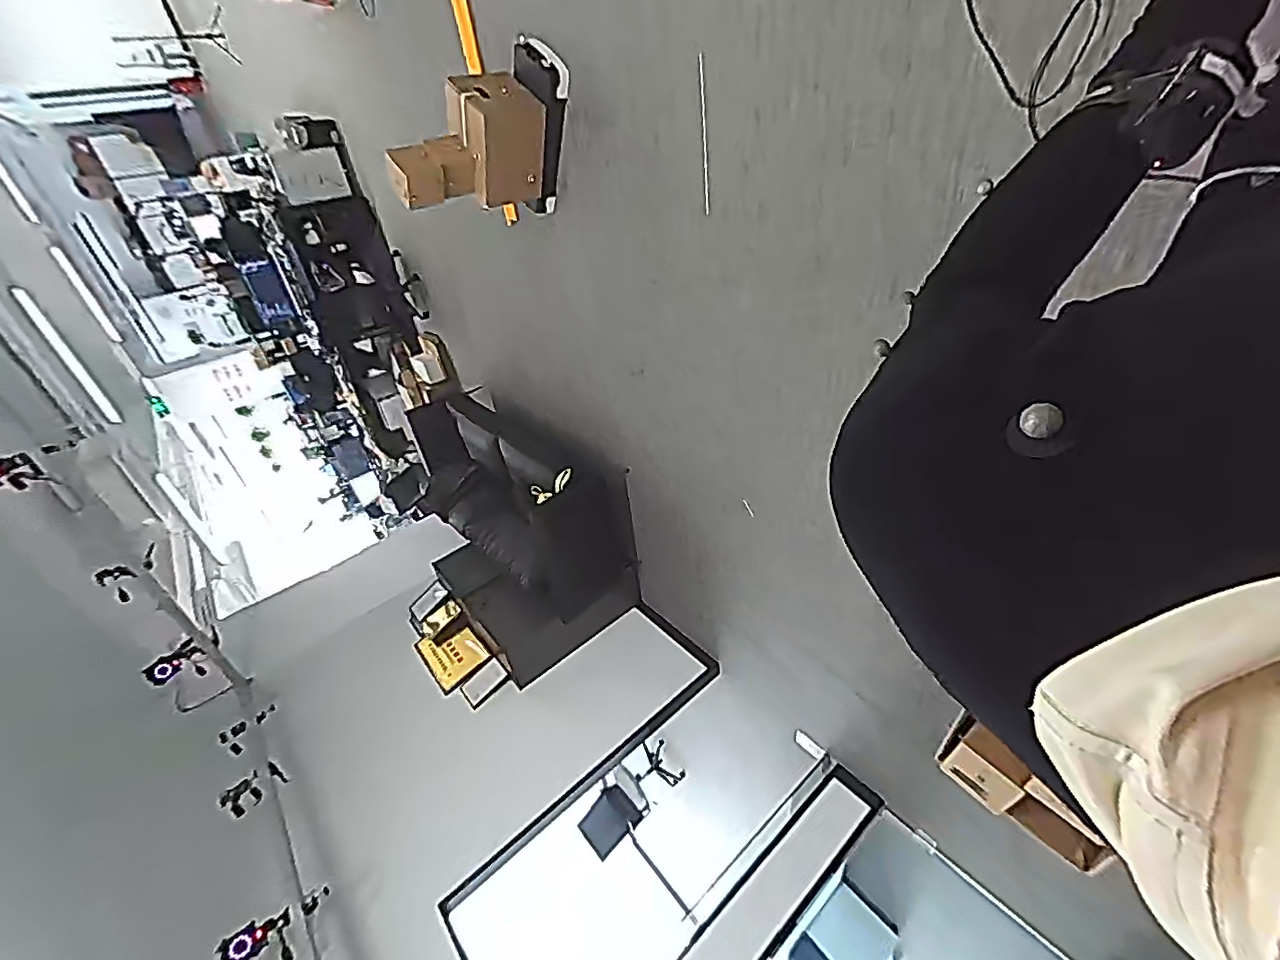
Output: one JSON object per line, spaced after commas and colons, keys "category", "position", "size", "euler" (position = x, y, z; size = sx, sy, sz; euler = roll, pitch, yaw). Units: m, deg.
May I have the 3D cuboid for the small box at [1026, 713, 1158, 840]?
{"category": "small box", "position": [1.067, 0.691, 1.276], "size": [0.168, 0.176, 0.179], "euler": [37, 144, 39]}
